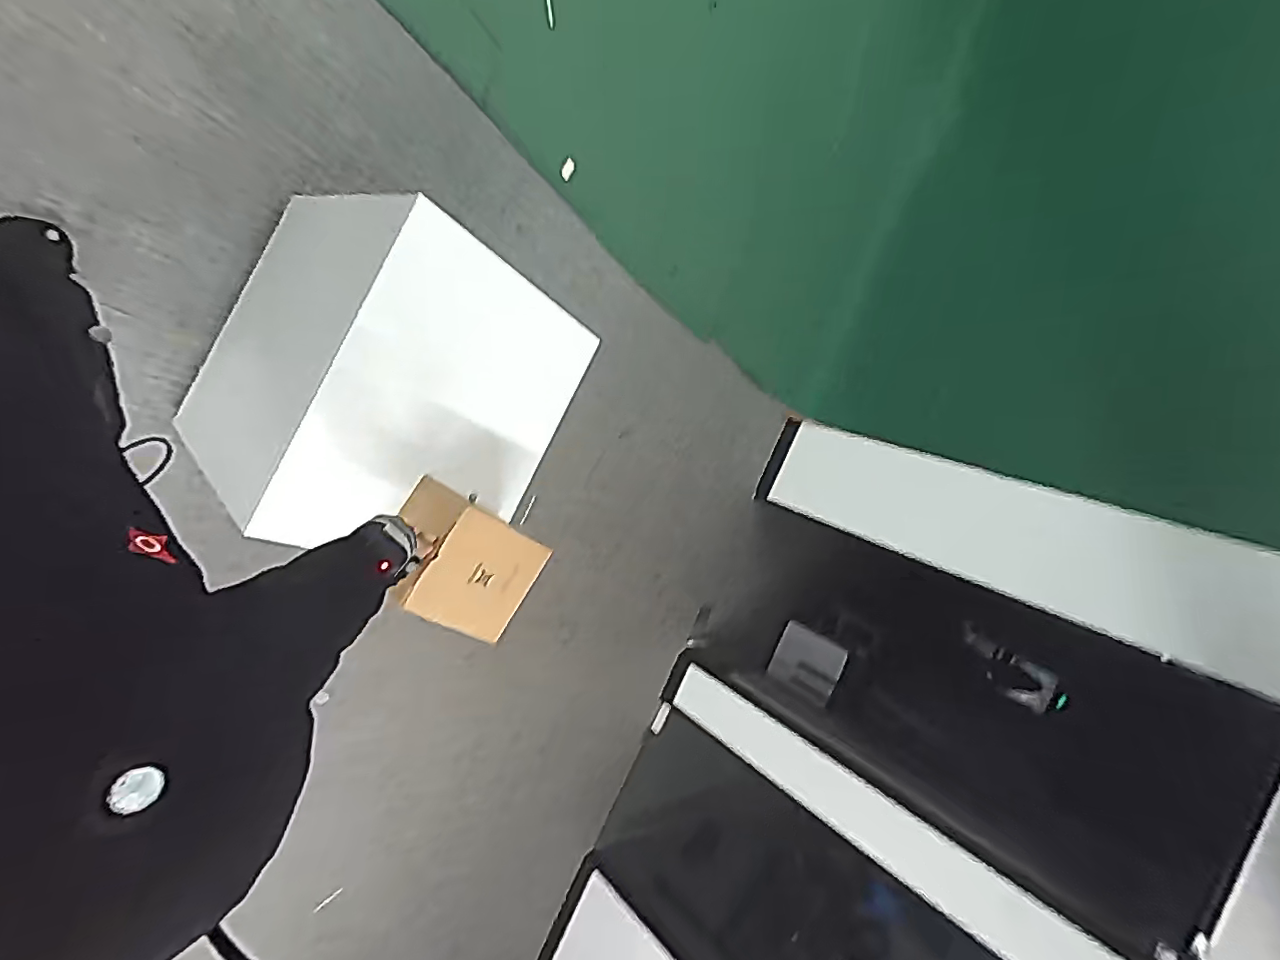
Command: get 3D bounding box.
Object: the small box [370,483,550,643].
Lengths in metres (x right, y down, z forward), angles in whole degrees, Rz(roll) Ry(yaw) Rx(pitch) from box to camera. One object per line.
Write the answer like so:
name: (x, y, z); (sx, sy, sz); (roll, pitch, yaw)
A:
small box: (-0.282, 0.121, 0.840); (0.179, 0.176, 0.168); (41, 77, -43)
